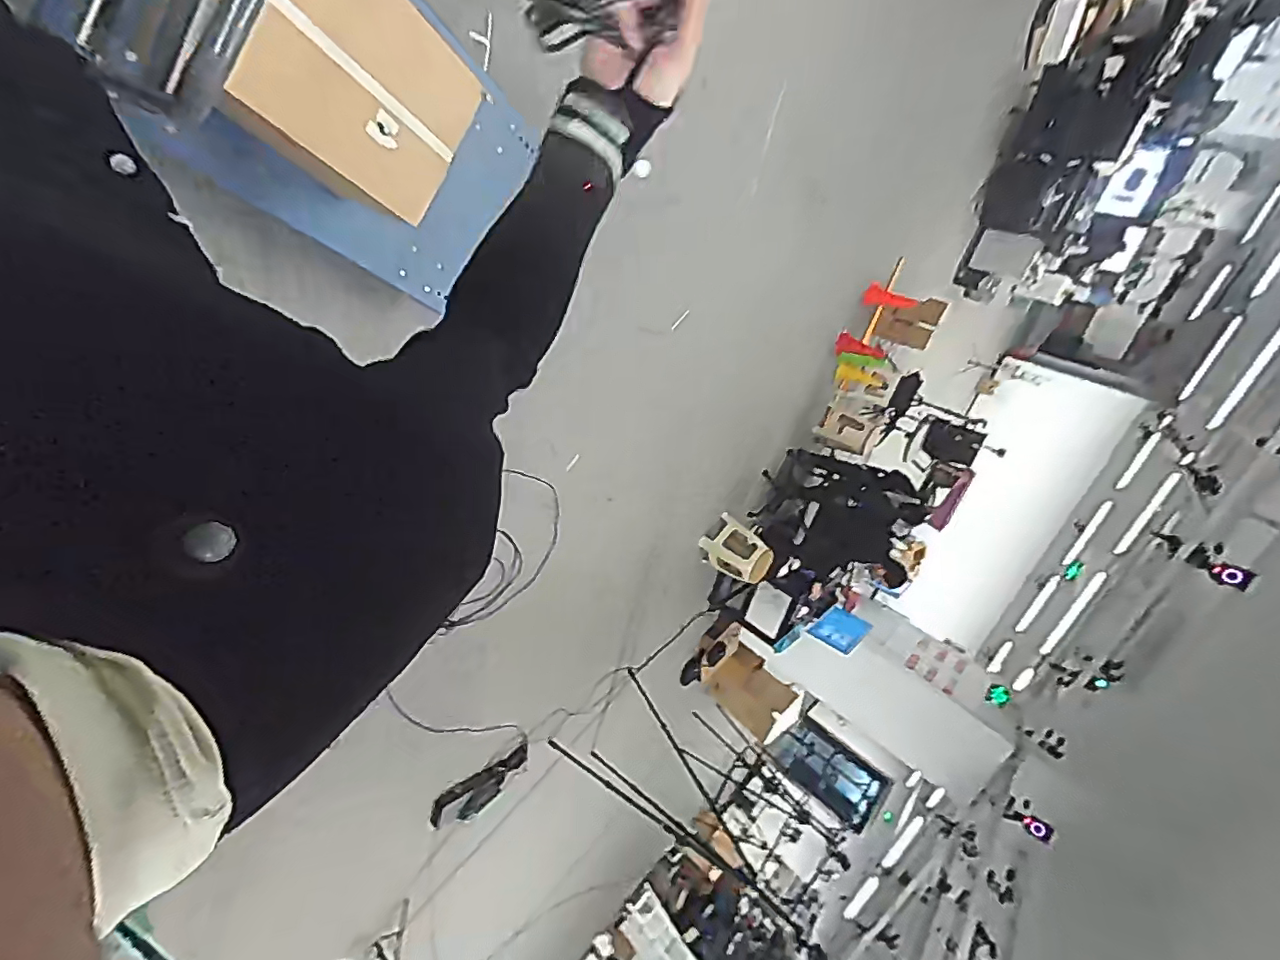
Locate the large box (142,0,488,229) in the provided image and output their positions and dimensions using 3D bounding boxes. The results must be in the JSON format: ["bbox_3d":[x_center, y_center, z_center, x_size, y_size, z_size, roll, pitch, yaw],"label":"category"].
[{"bbox_3d":[-0.581,-0.748,1.004,0.320,0.320,0.408,-60,149,3],"label":"large box"}]
